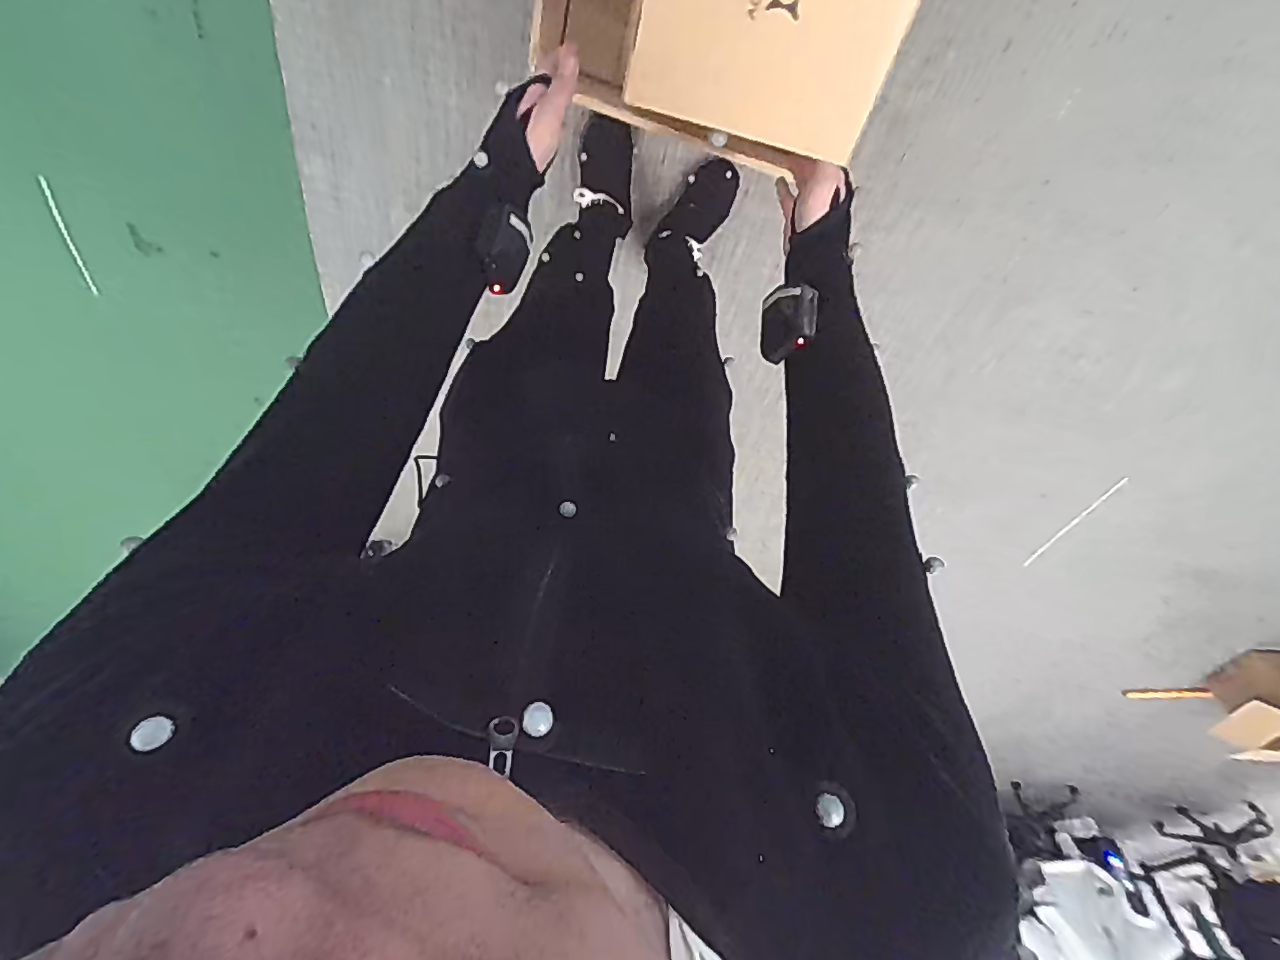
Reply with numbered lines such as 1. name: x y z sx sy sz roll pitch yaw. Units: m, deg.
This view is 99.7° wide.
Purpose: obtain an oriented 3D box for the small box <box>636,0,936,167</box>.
1. small box: 0.103 -0.365 0.401 0.179 0.176 0.168 12 133 -7
